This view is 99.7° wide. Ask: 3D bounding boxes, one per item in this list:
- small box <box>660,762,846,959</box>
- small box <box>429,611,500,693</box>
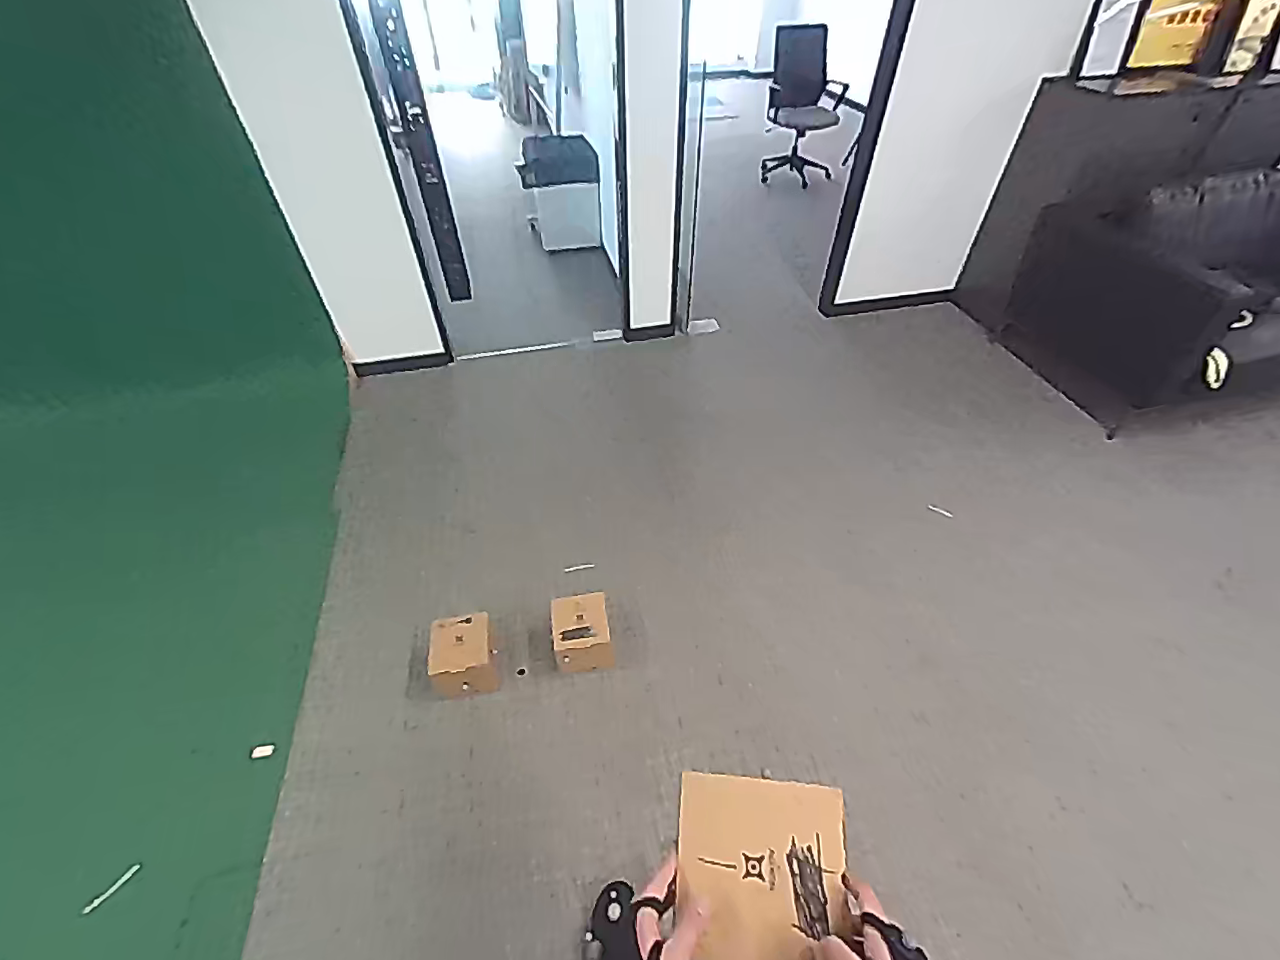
[{"bbox_3d":[0.119,0.428,0.616,0.179,0.176,0.168,3,59,7],"label":"small box"},{"bbox_3d":[-0.517,0.519,1.613,0.168,0.176,0.179,-8,46,-7],"label":"small box"}]
